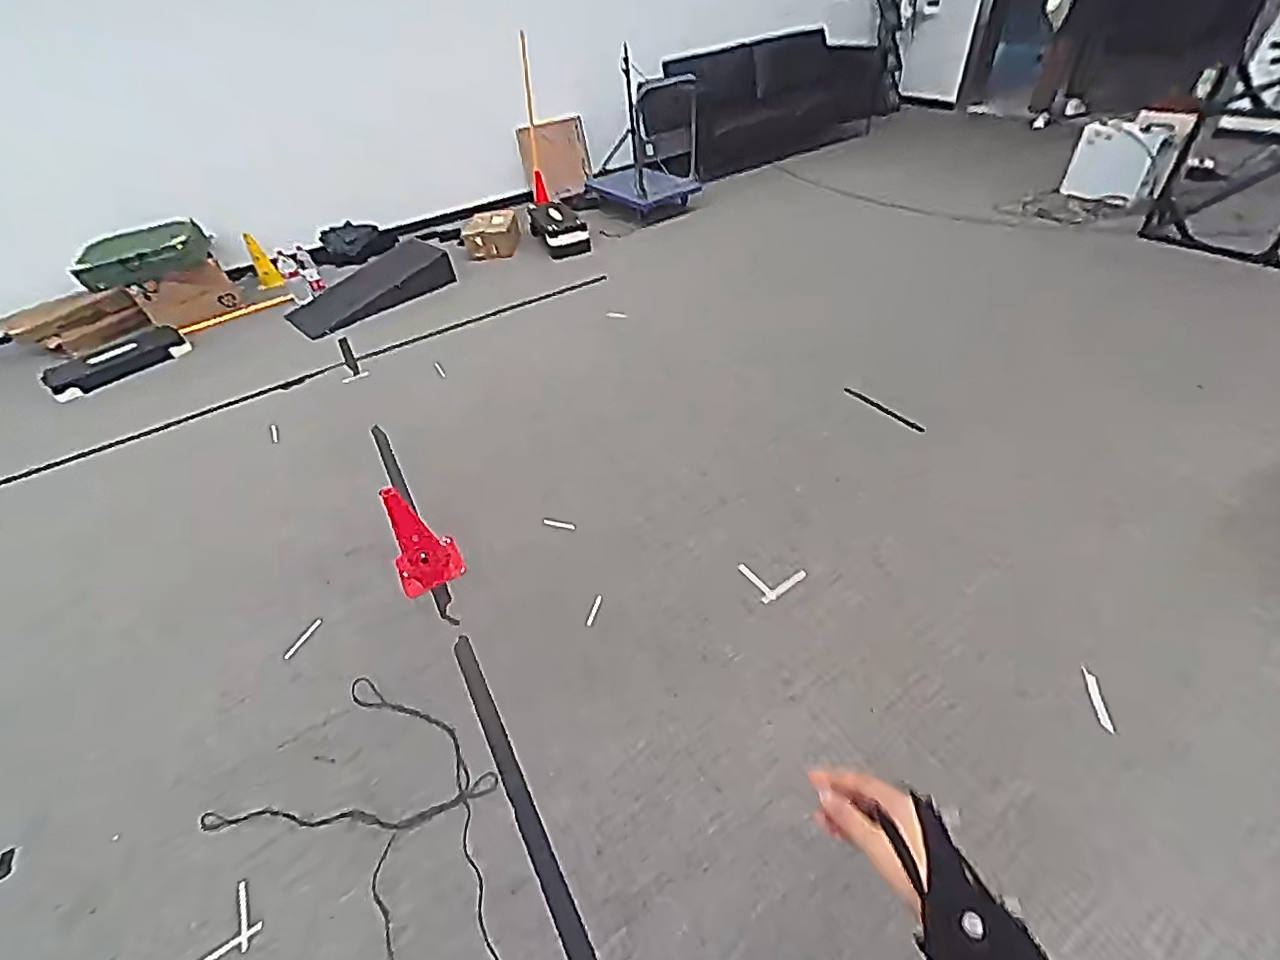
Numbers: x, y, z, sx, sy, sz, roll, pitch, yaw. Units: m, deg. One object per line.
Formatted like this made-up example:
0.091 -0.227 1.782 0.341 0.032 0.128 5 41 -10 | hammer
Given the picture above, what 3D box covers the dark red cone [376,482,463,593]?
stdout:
-0.727 0.155 1.697 0.201 0.394 0.202 -27 47 -19 | dark red cone
